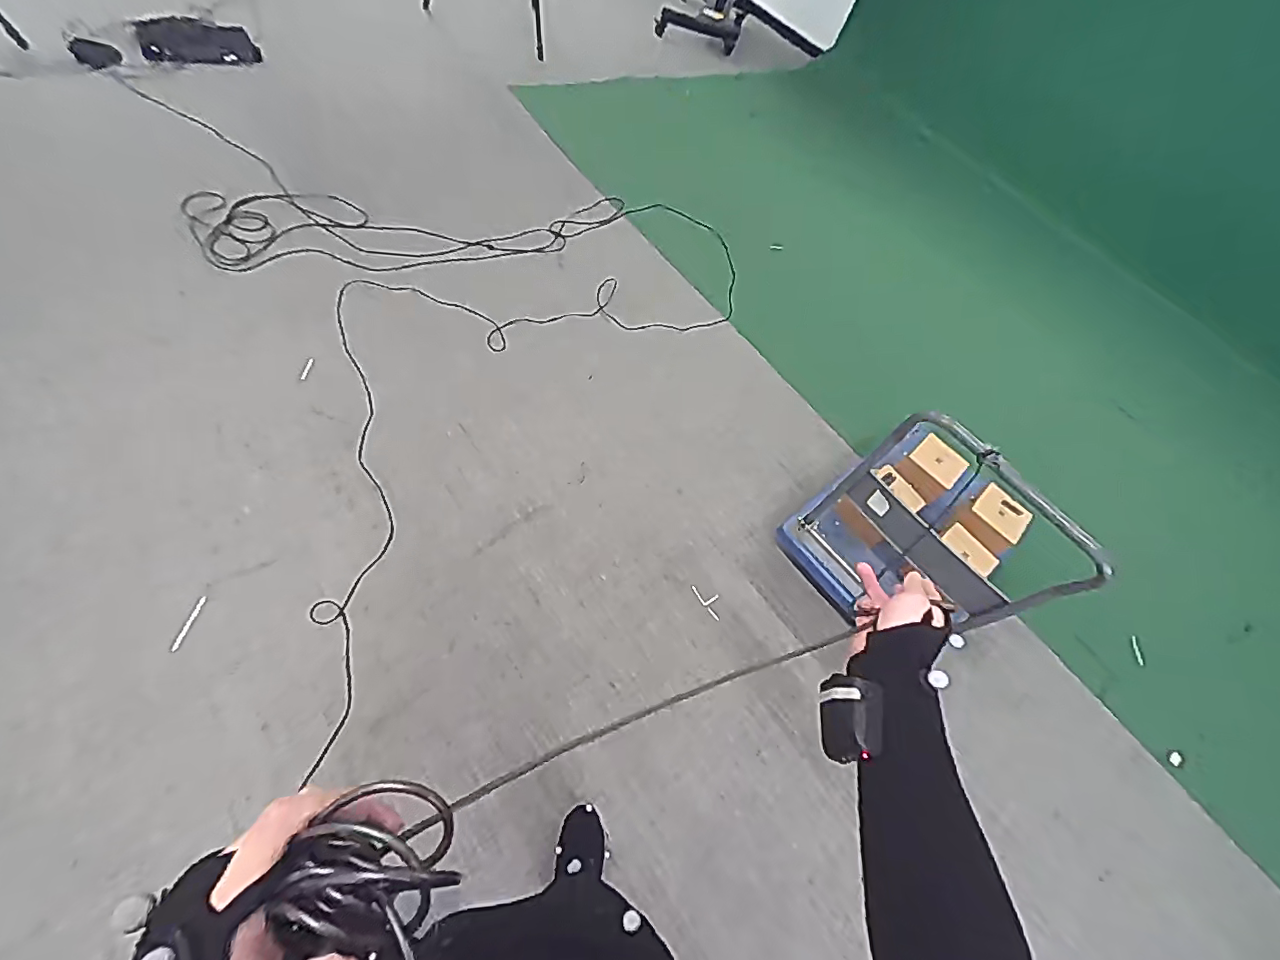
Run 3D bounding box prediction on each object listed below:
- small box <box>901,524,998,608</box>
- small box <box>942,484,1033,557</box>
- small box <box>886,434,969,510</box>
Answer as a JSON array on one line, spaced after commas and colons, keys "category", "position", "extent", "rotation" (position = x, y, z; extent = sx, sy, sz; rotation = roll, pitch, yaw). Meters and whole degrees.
[{"category": "small box", "position": [0.965, 0.272, 1.702], "extent": [0.179, 0.176, 0.168], "rotation": [-30, 70, -27]}, {"category": "small box", "position": [1.168, 0.150, 1.831], "extent": [0.179, 0.176, 0.168], "rotation": [-35, 72, -29]}, {"category": "small box", "position": [0.998, -0.024, 1.896], "extent": [0.179, 0.176, 0.168], "rotation": [-35, 73, -30]}]
